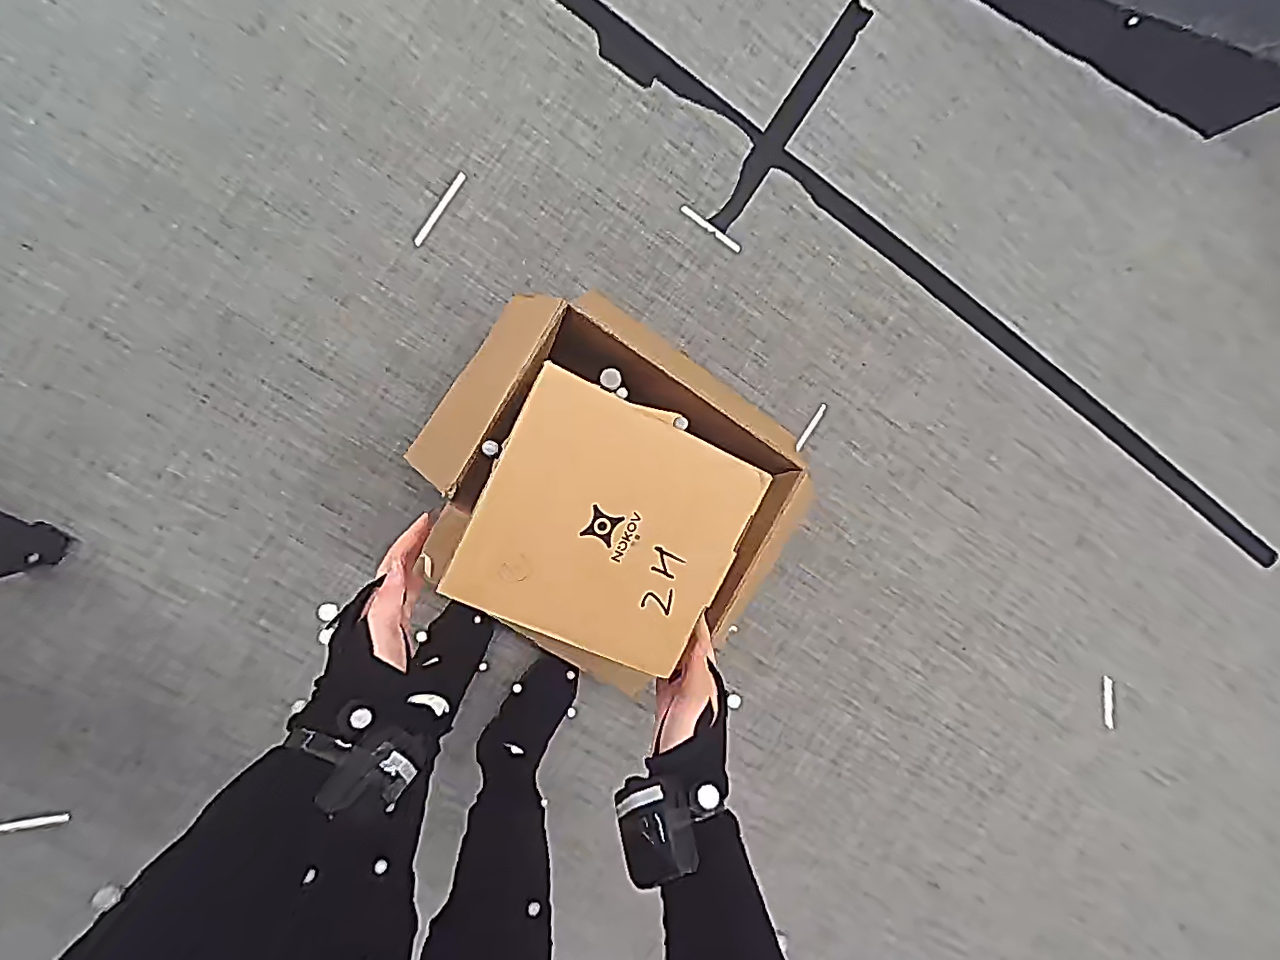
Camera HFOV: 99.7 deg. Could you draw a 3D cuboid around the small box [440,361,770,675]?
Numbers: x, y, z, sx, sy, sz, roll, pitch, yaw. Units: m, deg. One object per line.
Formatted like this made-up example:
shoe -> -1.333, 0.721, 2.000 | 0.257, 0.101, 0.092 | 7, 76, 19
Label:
small box -> -0.034, 0.021, 0.441 | 0.179, 0.176, 0.168 | 26, 94, -14
